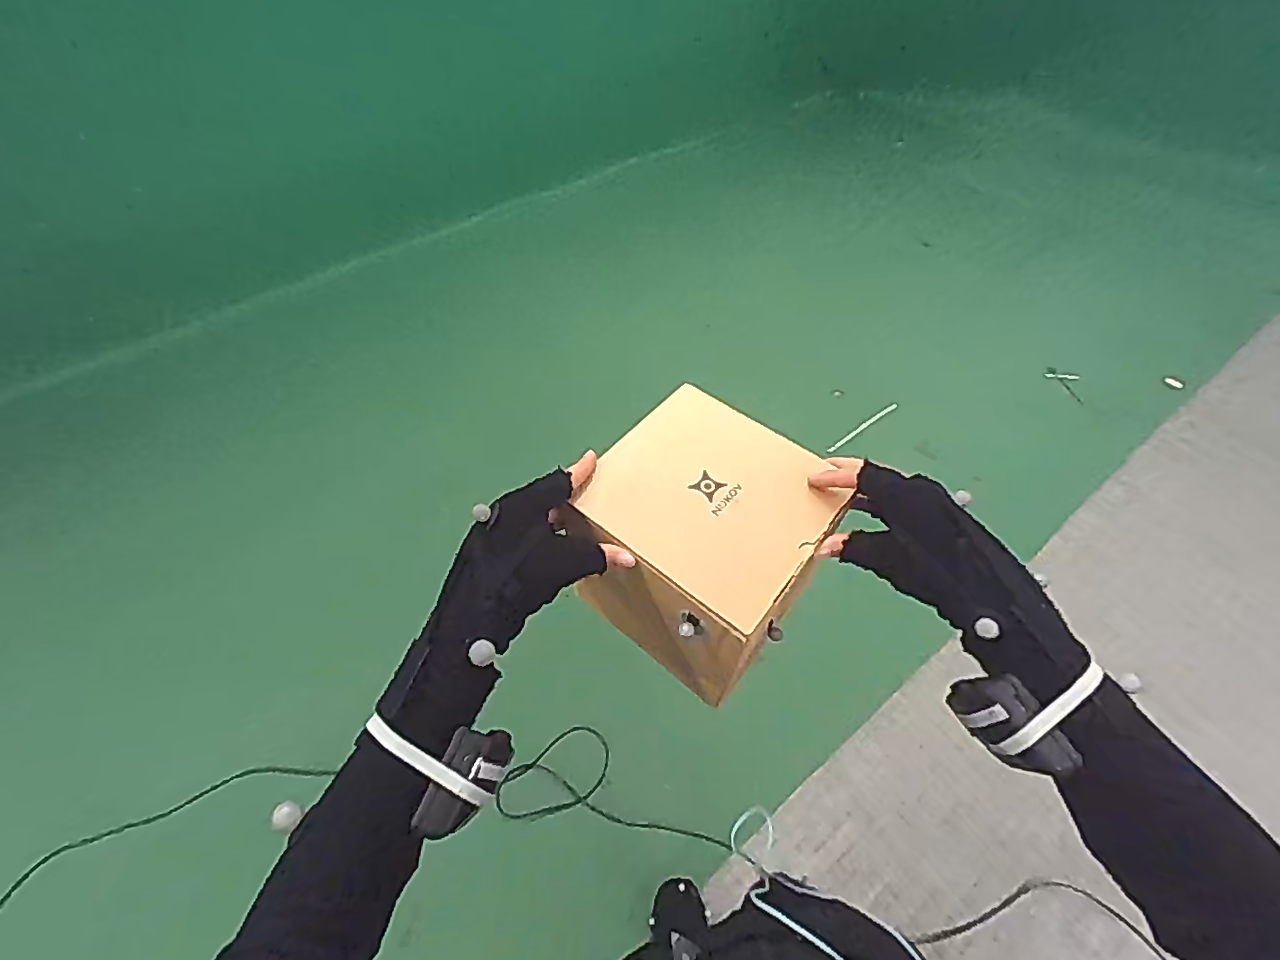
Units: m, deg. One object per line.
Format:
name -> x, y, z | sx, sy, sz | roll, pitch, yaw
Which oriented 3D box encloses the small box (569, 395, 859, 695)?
small box -> 0.057, 0.062, 0.491 | 0.179, 0.176, 0.168 | 35, 59, 22
